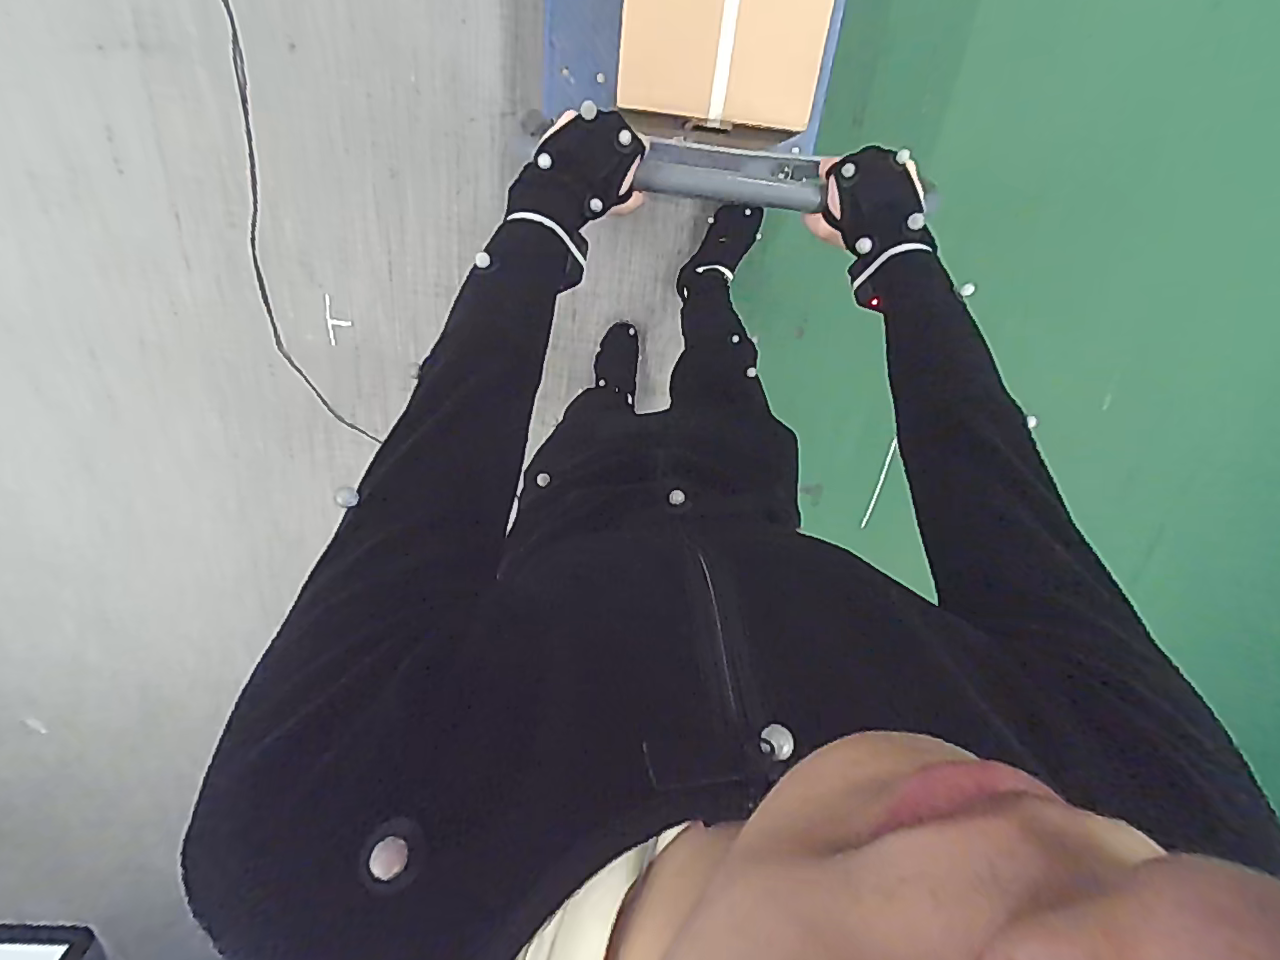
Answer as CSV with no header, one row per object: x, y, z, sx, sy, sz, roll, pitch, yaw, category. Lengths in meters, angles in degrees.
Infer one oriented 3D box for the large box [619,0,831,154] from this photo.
0.132,-0.819,0.924,0.320,0.320,0.408,4,114,-5,large box
